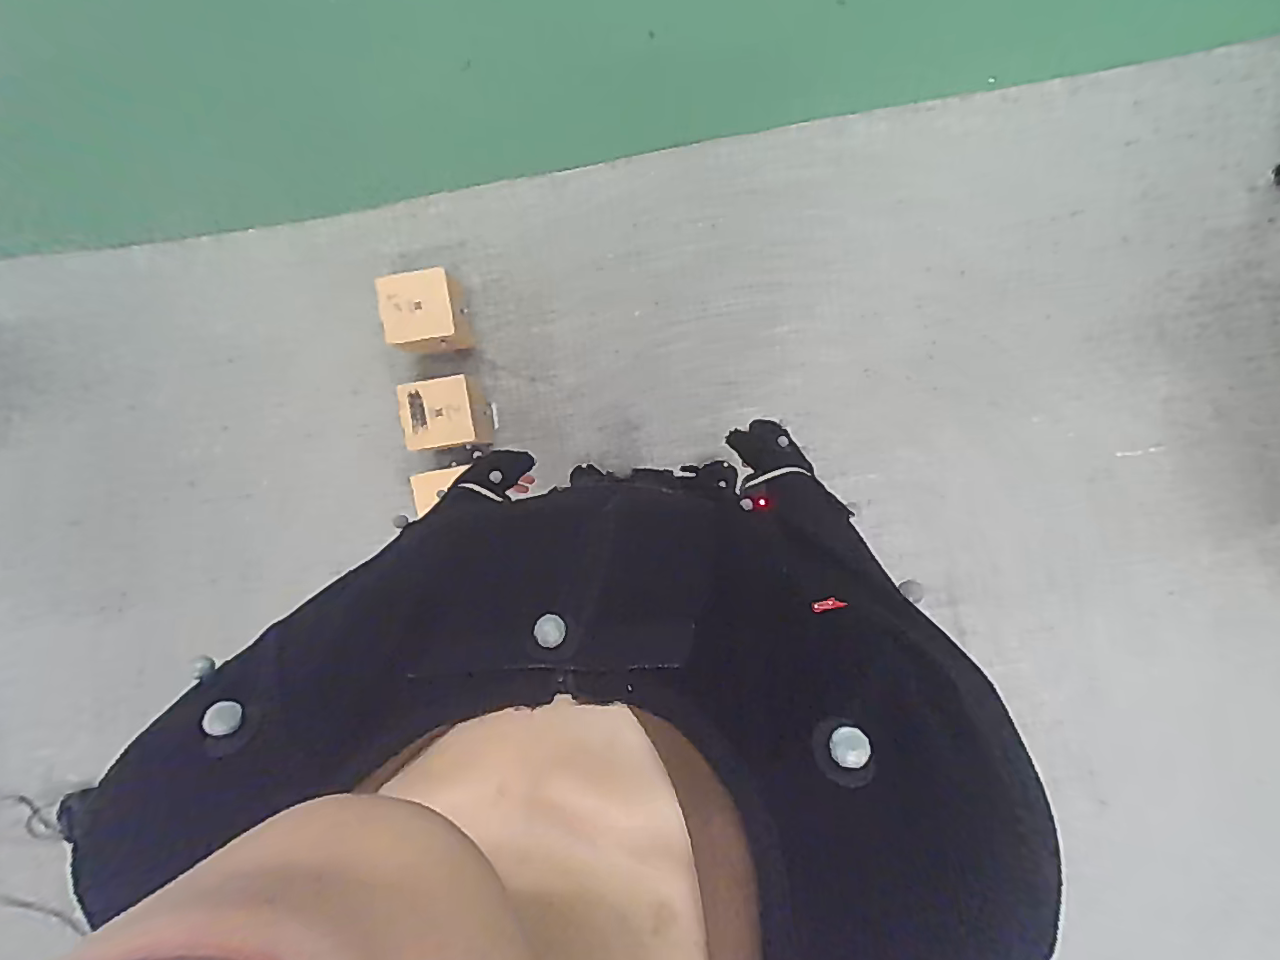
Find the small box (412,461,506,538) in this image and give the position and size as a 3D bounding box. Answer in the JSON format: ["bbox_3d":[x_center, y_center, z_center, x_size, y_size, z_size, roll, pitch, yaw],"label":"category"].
[{"bbox_3d":[-0.461,0.045,1.410,0.179,0.176,0.168,-10,94,3],"label":"small box"}]

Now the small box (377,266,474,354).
[{"bbox_3d":[-0.538,-0.429,1.388,0.179,0.176,0.168,-9,92,2],"label":"small box"}]
